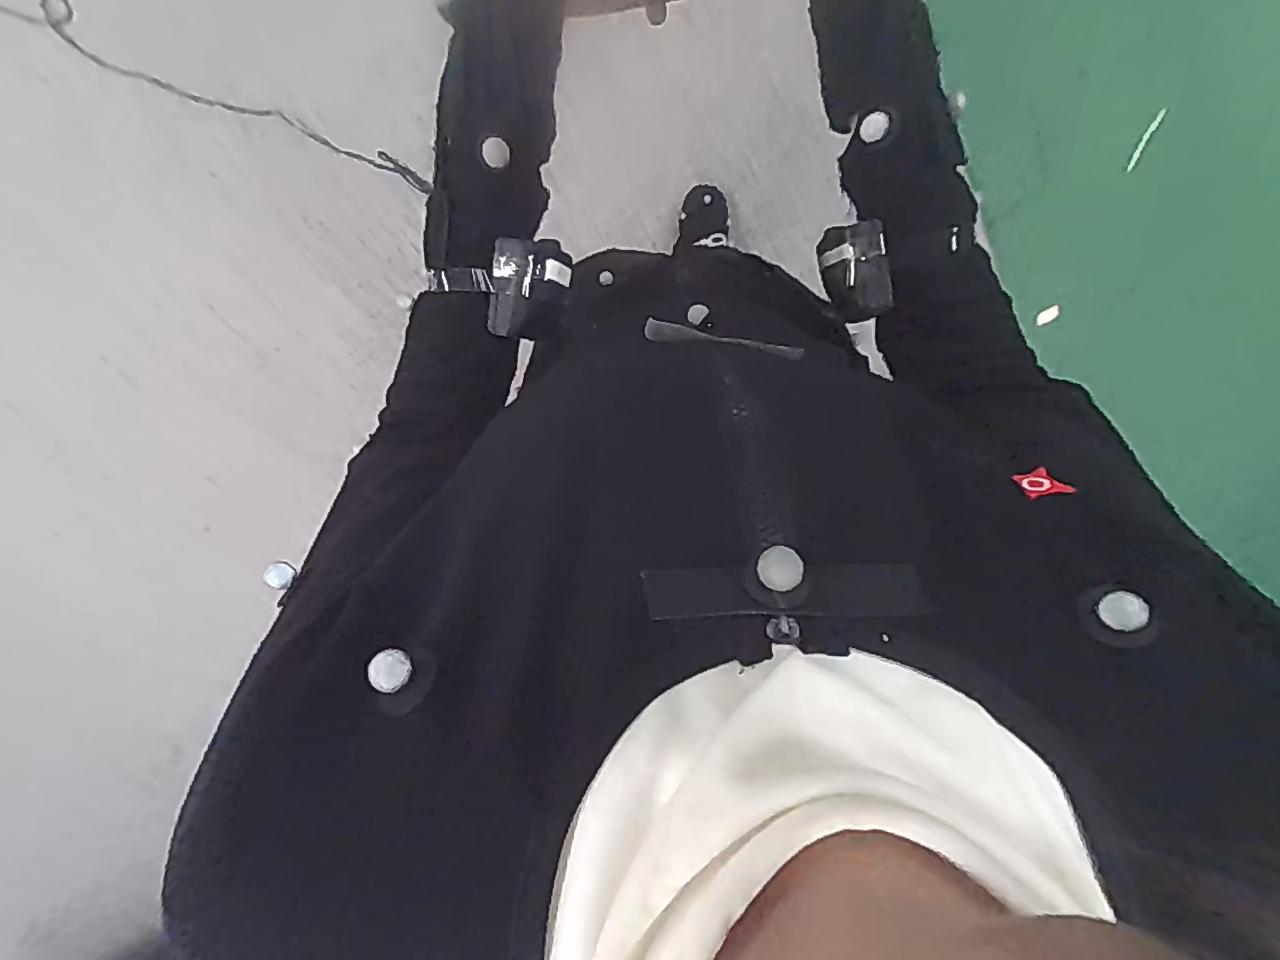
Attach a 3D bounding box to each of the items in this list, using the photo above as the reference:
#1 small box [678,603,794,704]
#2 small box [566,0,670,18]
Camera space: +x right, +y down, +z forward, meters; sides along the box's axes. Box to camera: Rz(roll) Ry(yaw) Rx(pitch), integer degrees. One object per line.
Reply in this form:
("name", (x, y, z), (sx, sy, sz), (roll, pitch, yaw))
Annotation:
("small box", (0.198, 0.400, 1.158), (0.168, 0.176, 0.179), (-37, 111, 15))
("small box", (0.006, -0.417, 0.316), (0.168, 0.176, 0.179), (-9, 118, 4))
